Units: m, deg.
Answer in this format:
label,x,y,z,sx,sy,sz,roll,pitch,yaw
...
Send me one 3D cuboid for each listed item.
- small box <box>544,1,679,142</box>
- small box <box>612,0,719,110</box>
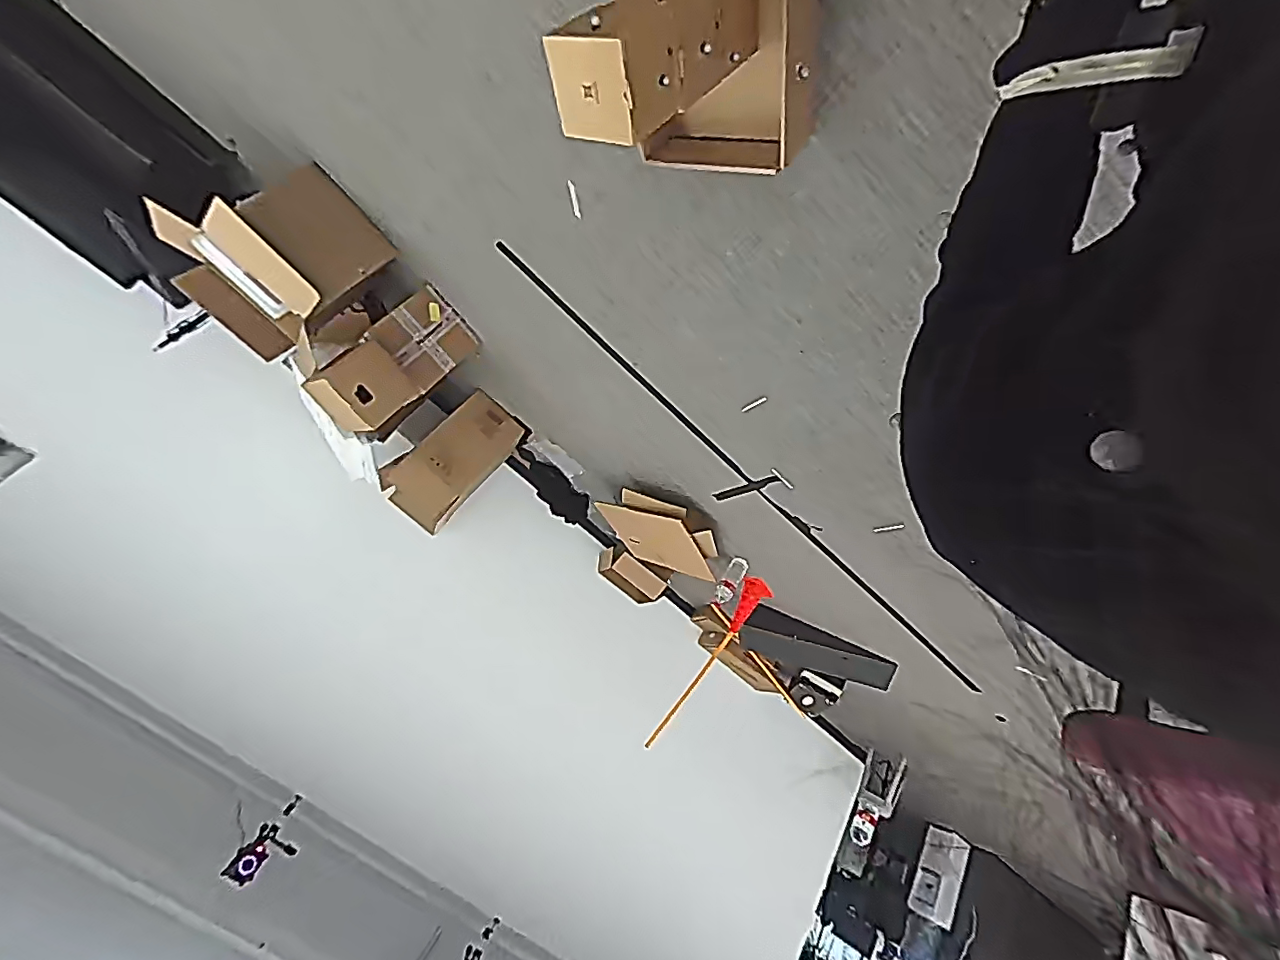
label,x,y,z,sx,sy,sz,roll,pitch,yaw
small box,-0.046,-0.766,1.012,0.179,0.176,0.168,24,151,25
small box,0.049,-0.877,1.085,0.179,0.176,0.168,24,151,24
